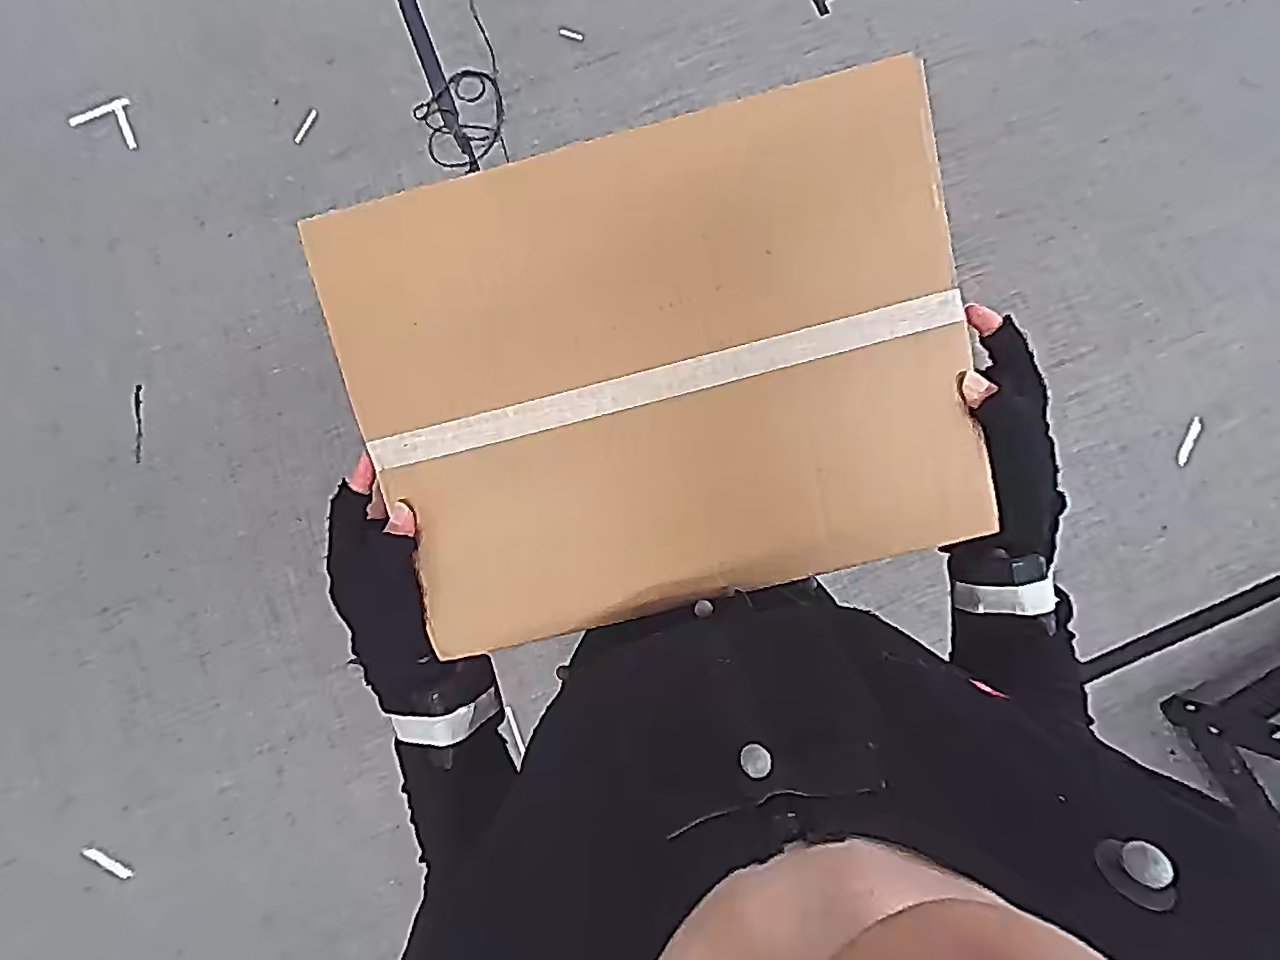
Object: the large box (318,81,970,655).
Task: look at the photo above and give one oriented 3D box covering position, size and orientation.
[{"bbox_3d":[0.012,-0.085,0.522,0.408,0.320,0.320,-14,97,2],"label":"large box"}]
